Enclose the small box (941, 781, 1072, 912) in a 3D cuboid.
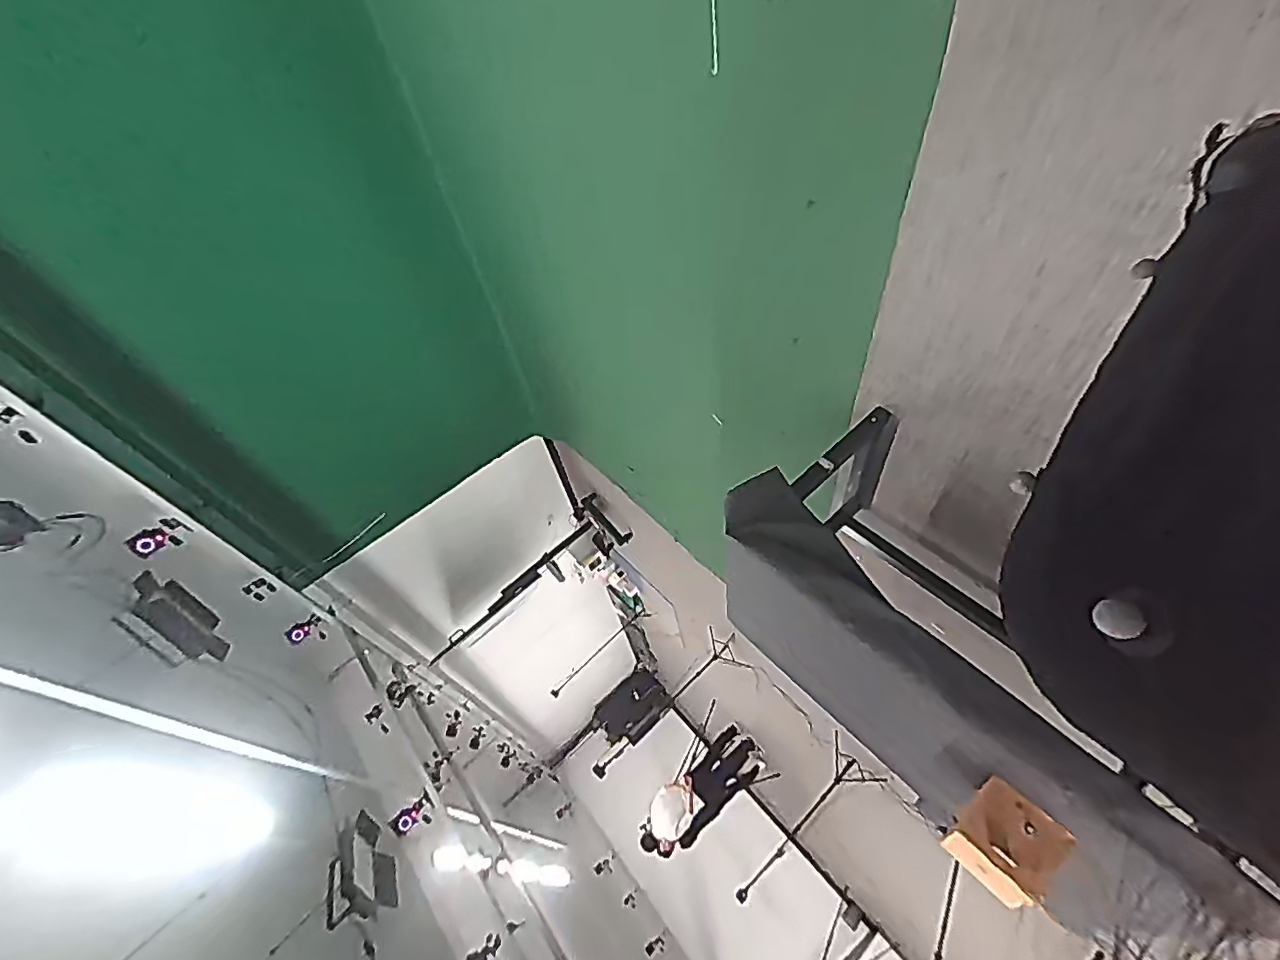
[{"bbox_3d":[0.814,0.814,1.206,0.168,0.176,0.179,38,156,37],"label":"small box"}]
